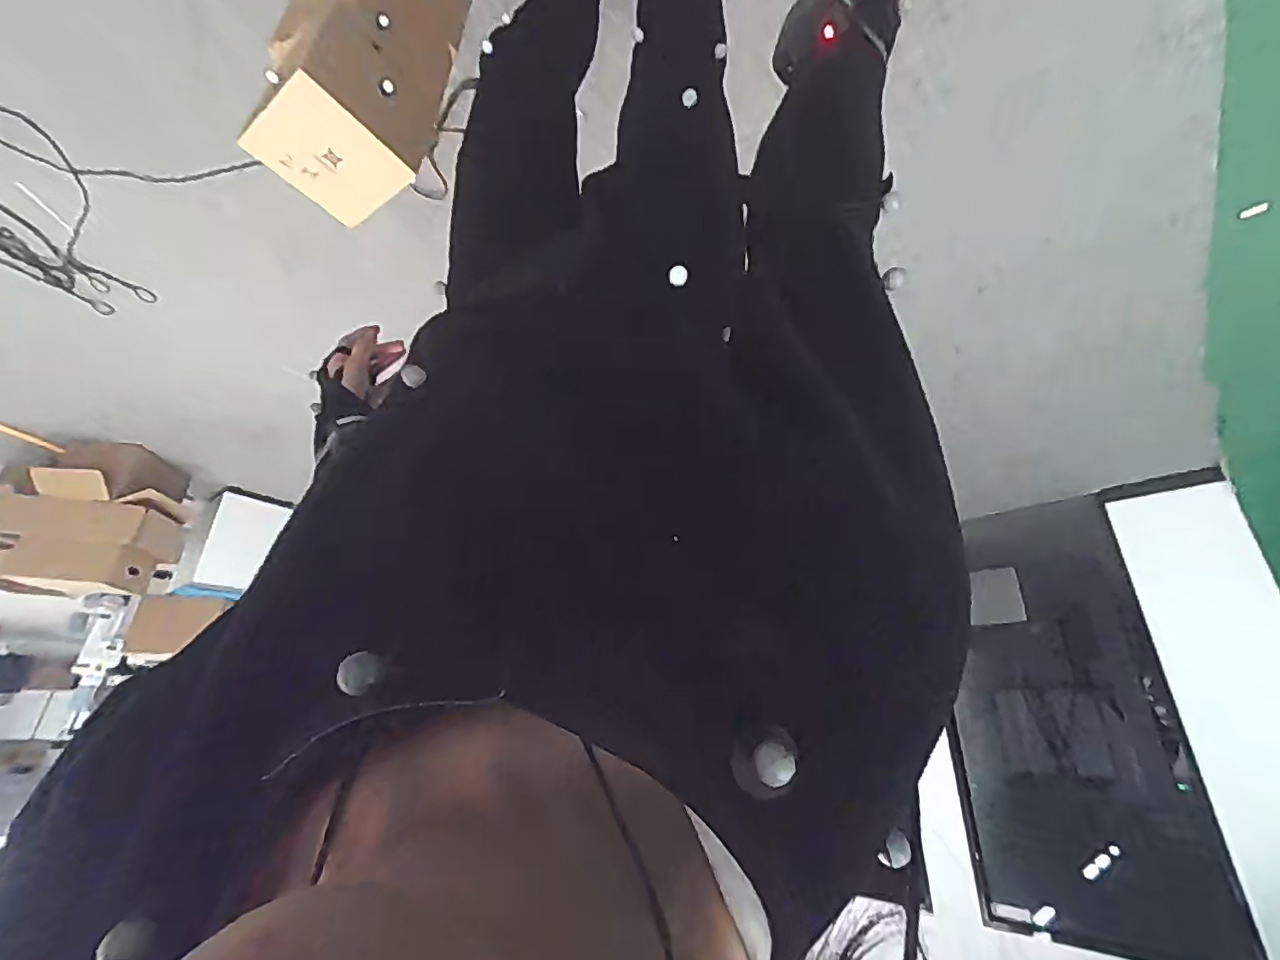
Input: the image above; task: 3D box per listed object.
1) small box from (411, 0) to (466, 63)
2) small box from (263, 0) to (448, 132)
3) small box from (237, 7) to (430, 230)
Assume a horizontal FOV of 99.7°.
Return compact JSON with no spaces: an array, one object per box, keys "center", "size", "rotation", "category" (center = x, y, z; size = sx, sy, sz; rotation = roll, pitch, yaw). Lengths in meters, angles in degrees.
[{"center":[-0.420,-0.809,0.908],"size":[0.168,0.176,0.179],"rotation":[-10,154,24],"category":"small box"},{"center":[-0.429,-0.659,0.848],"size":[0.168,0.176,0.179],"rotation":[-7,154,19],"category":"small box"},{"center":[-0.425,-0.511,0.775],"size":[0.179,0.176,0.168],"rotation":[-13,151,31],"category":"small box"}]
